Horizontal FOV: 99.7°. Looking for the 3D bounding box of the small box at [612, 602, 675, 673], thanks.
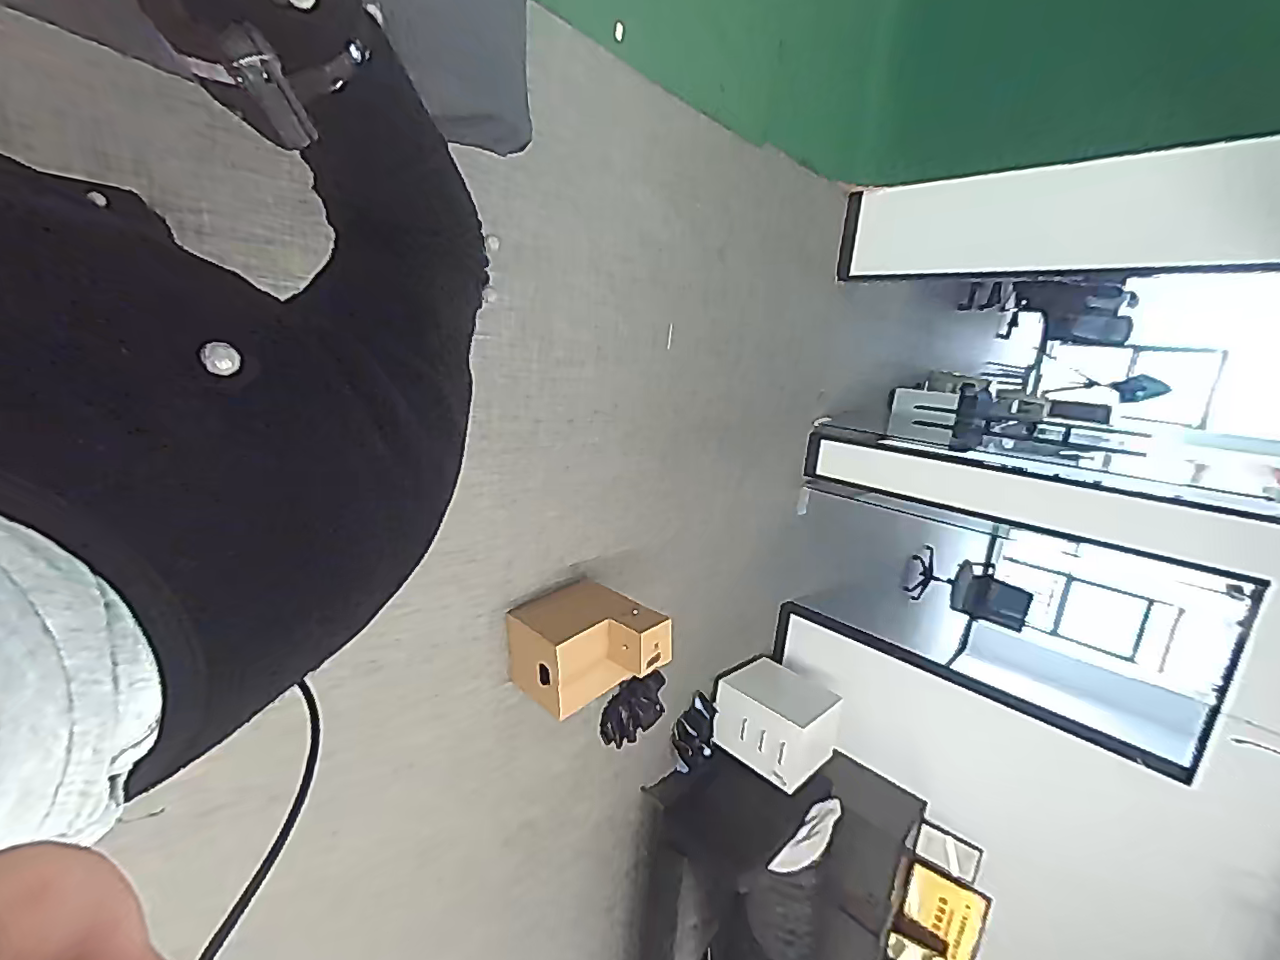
[{"bbox_3d":[0.012,0.576,1.997,0.168,0.176,0.179,-15,108,-45],"label":"small box"}]
